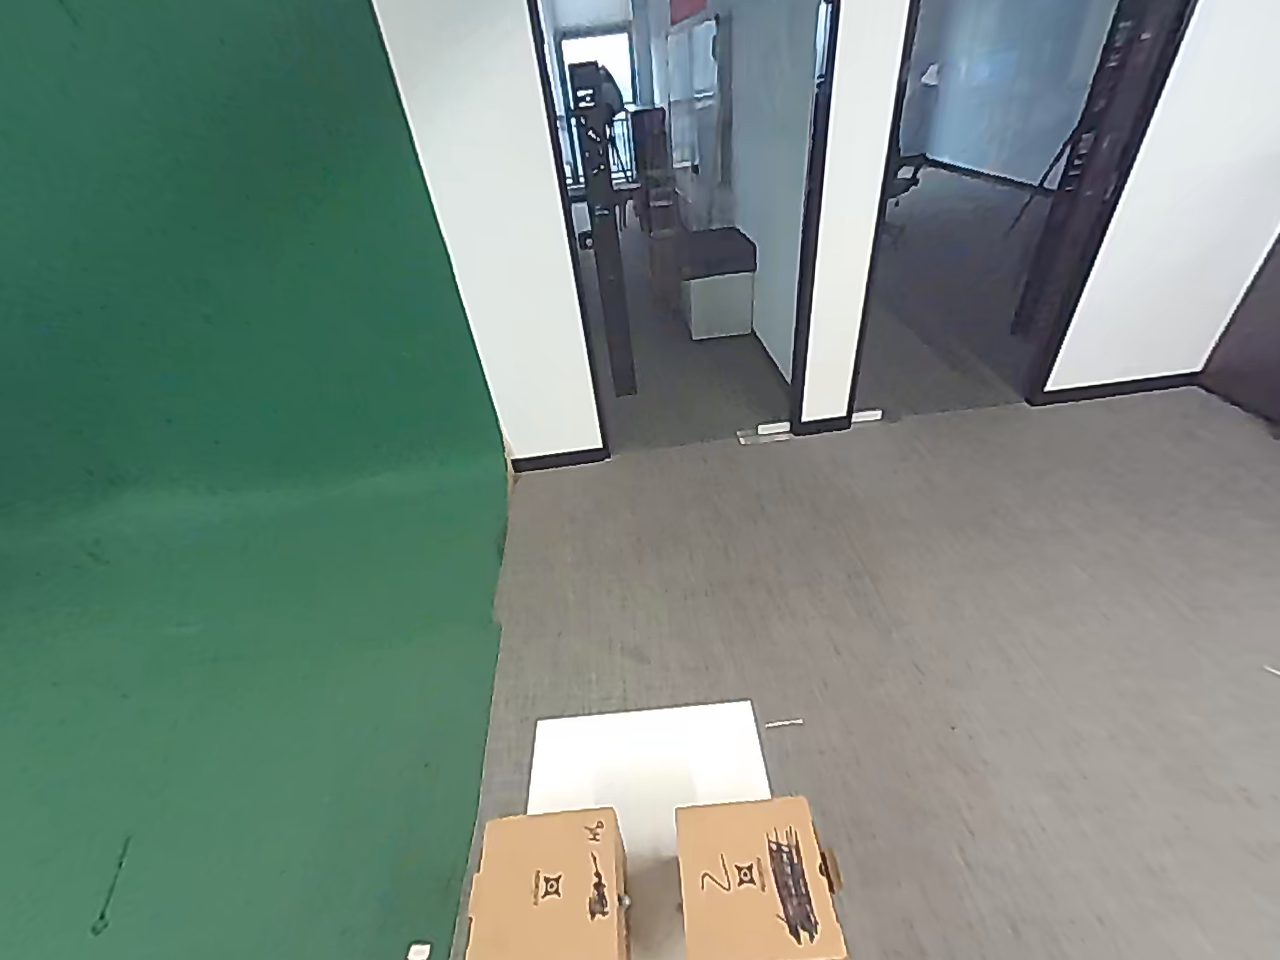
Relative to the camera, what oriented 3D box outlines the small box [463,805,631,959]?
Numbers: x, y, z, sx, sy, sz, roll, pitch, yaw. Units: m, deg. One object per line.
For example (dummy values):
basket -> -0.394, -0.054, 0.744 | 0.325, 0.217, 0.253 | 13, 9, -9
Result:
small box -> -0.109, 0.555, 0.707 | 0.179, 0.176, 0.168 | -6, 38, 0
